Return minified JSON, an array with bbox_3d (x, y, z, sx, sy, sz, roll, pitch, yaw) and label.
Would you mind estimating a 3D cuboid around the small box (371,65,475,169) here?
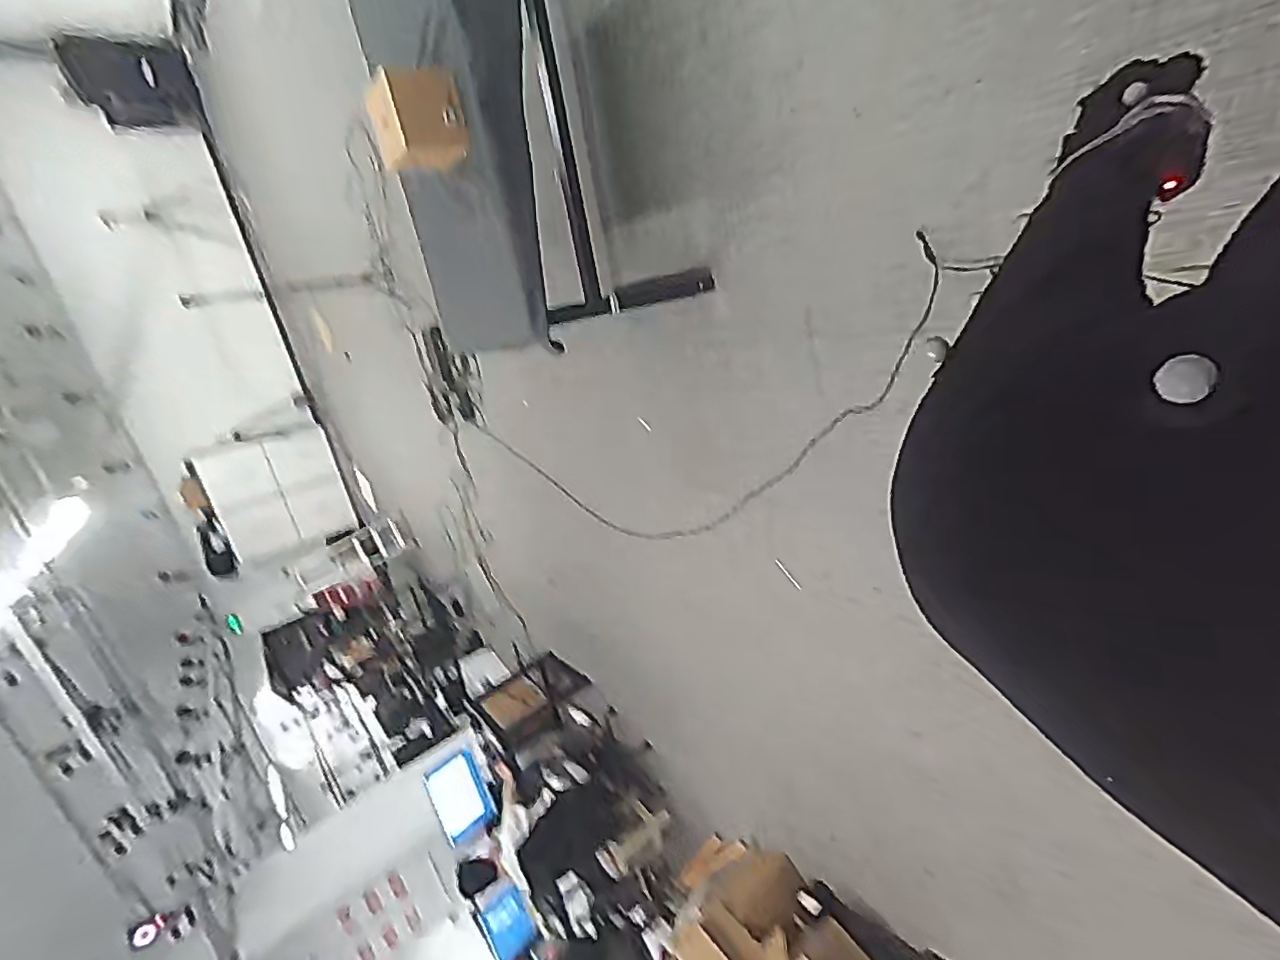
[{"bbox_3d":[-0.530,-0.881,1.330,0.179,0.176,0.168,10,119,50],"label":"small box"}]
